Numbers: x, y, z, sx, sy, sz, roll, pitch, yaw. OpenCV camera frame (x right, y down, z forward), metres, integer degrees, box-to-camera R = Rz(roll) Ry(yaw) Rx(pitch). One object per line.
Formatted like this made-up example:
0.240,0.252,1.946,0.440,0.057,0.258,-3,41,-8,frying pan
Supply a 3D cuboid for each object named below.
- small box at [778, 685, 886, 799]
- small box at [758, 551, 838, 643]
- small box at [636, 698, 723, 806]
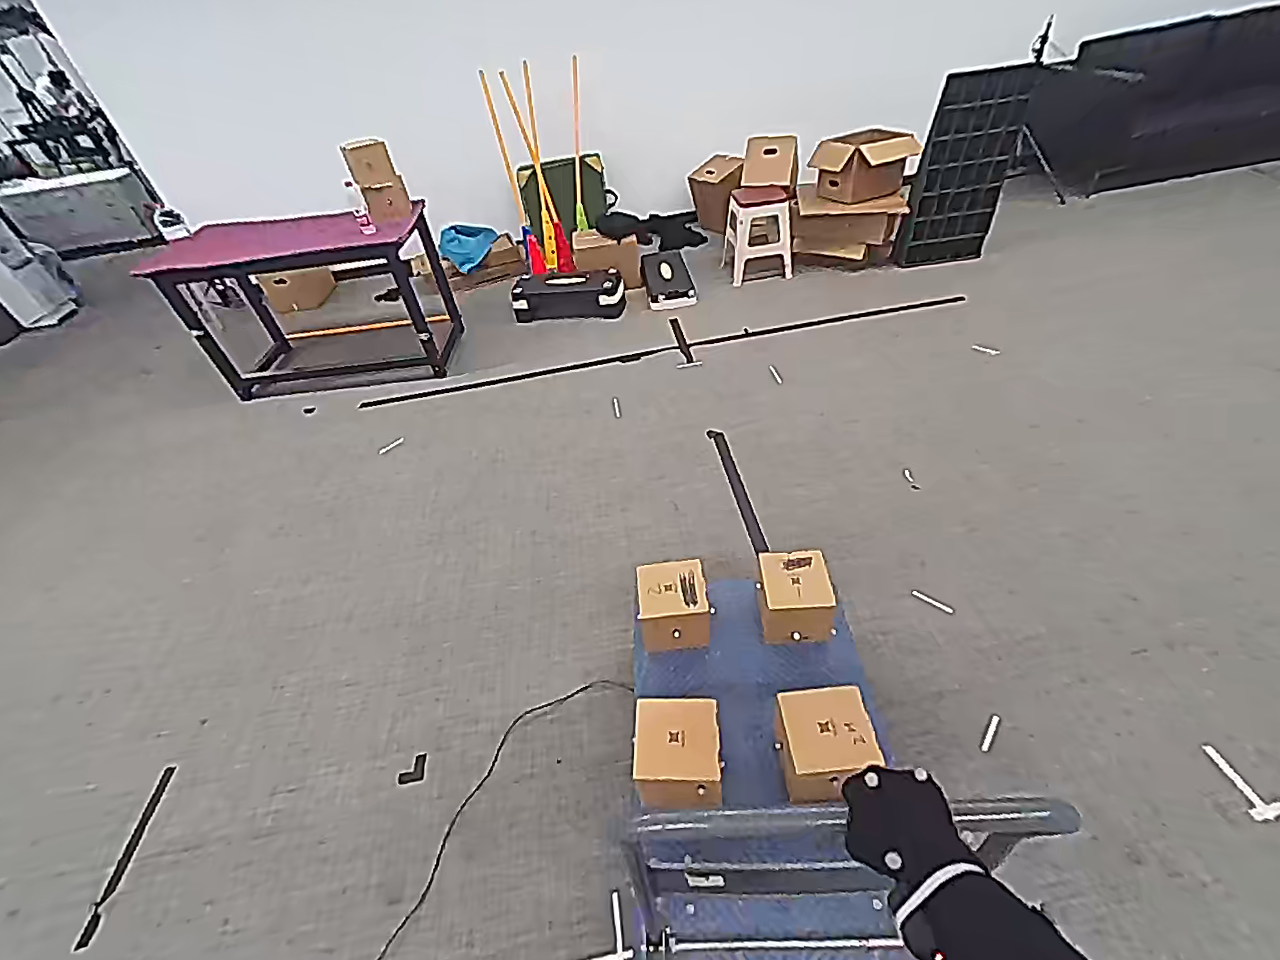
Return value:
0.397,0.563,1.155,0.179,0.176,0.168,-7,43,2,small box
0.407,0.309,1.428,0.168,0.176,0.179,-4,44,5,small box
0.089,0.592,1.174,0.179,0.176,0.168,-2,43,5,small box
